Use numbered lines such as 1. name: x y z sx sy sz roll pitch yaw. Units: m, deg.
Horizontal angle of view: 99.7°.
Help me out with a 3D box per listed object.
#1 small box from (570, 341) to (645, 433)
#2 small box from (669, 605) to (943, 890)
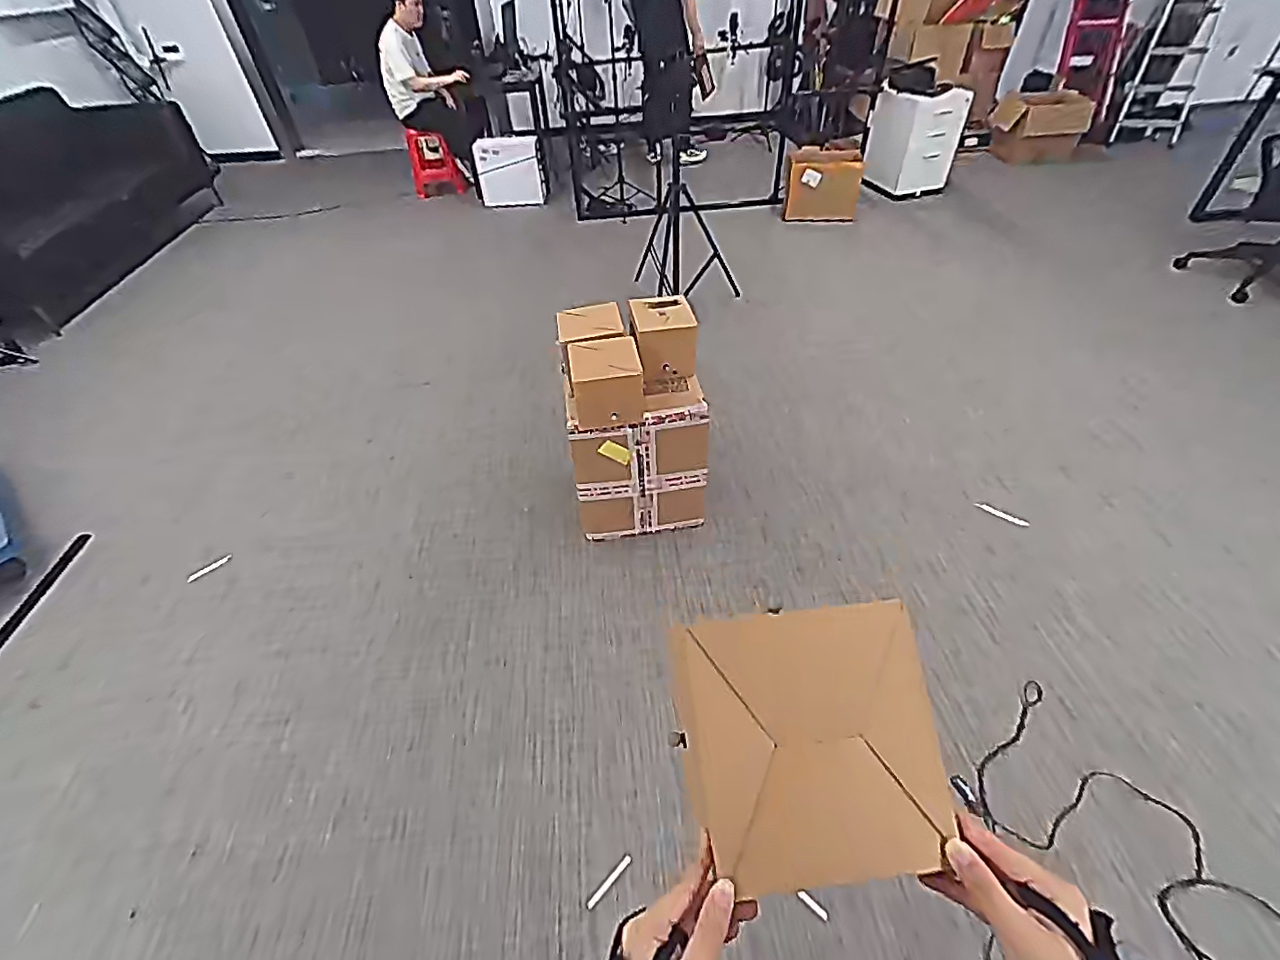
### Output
1. small box: -0.087 -0.249 1.431 0.179 0.176 0.168 -8 48 -4
2. small box: 0.121 0.206 0.459 0.168 0.176 0.179 -6 76 -4
